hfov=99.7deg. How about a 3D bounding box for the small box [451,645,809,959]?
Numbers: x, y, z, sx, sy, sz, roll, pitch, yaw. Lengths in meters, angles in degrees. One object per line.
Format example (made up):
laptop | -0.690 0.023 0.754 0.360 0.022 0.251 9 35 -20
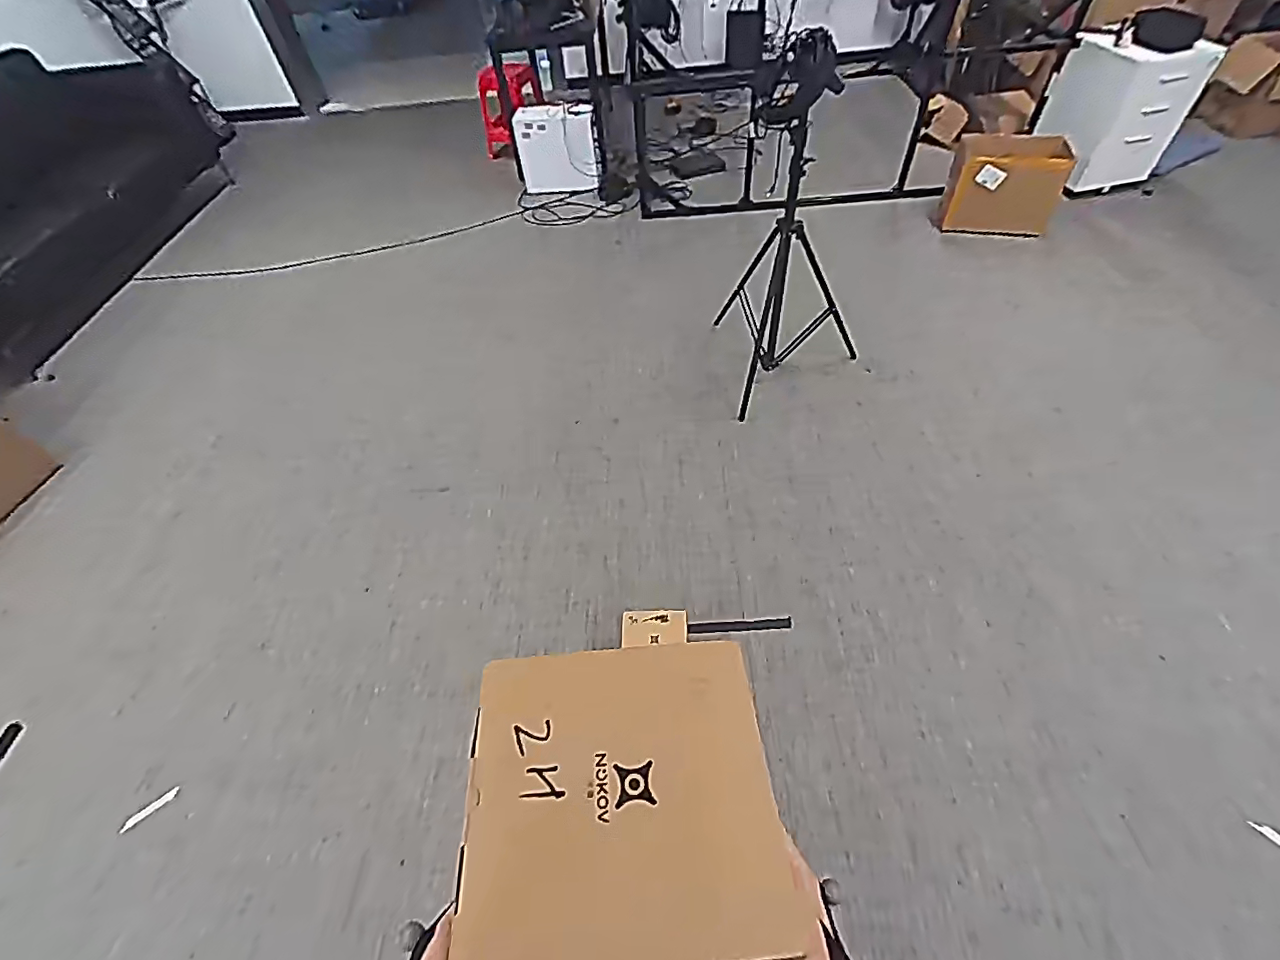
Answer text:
small box | -0.010 0.230 0.367 0.179 0.176 0.168 -4 46 -3

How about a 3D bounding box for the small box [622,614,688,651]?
small box | 0.043 0.465 1.409 0.168 0.176 0.179 -2 52 4
